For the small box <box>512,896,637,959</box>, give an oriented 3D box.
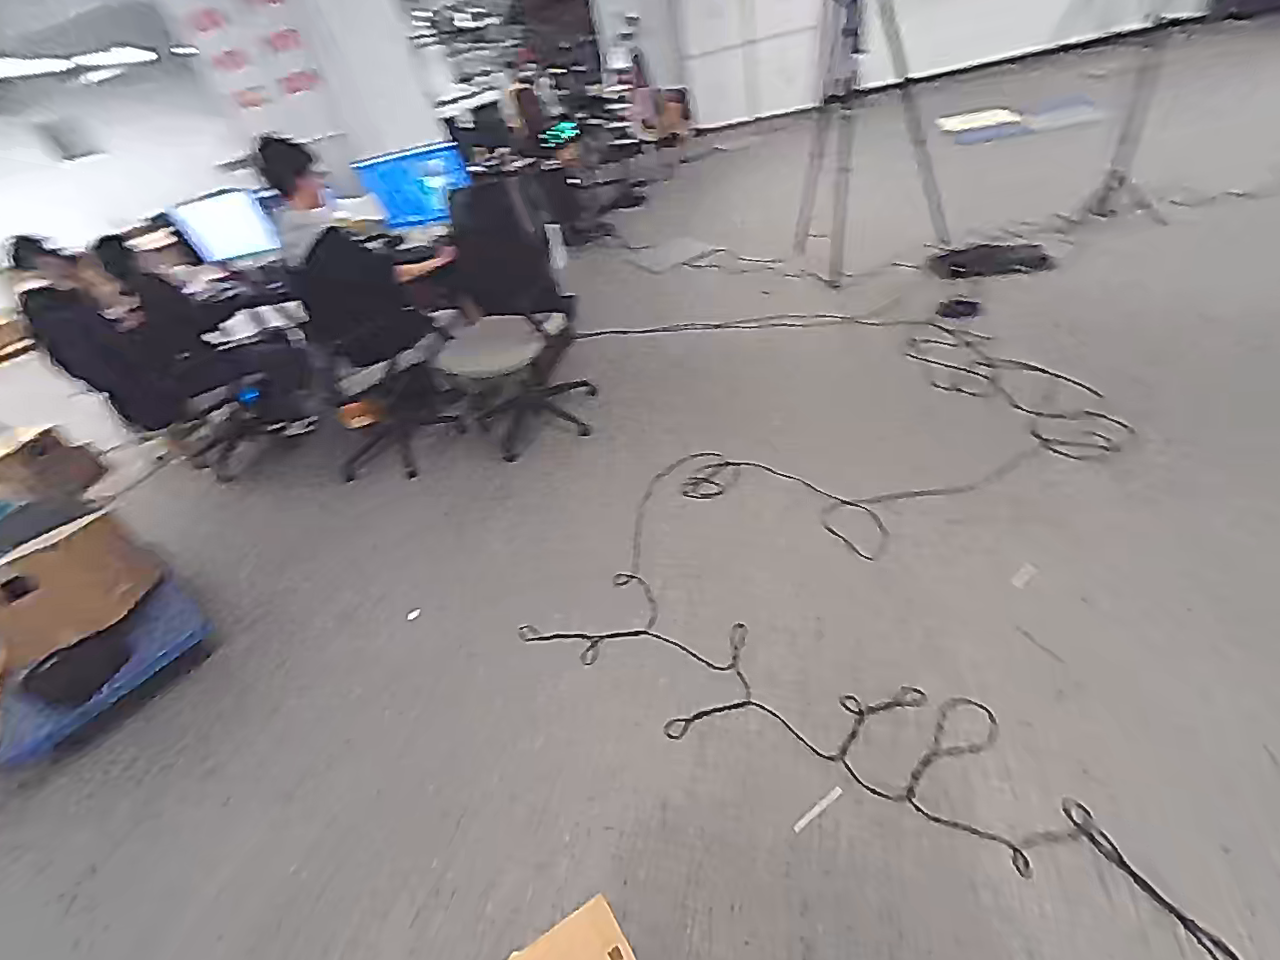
[{"bbox_3d":[-0.086,0.628,0.613,0.176,0.179,0.168,-9,41,-40],"label":"small box"}]
